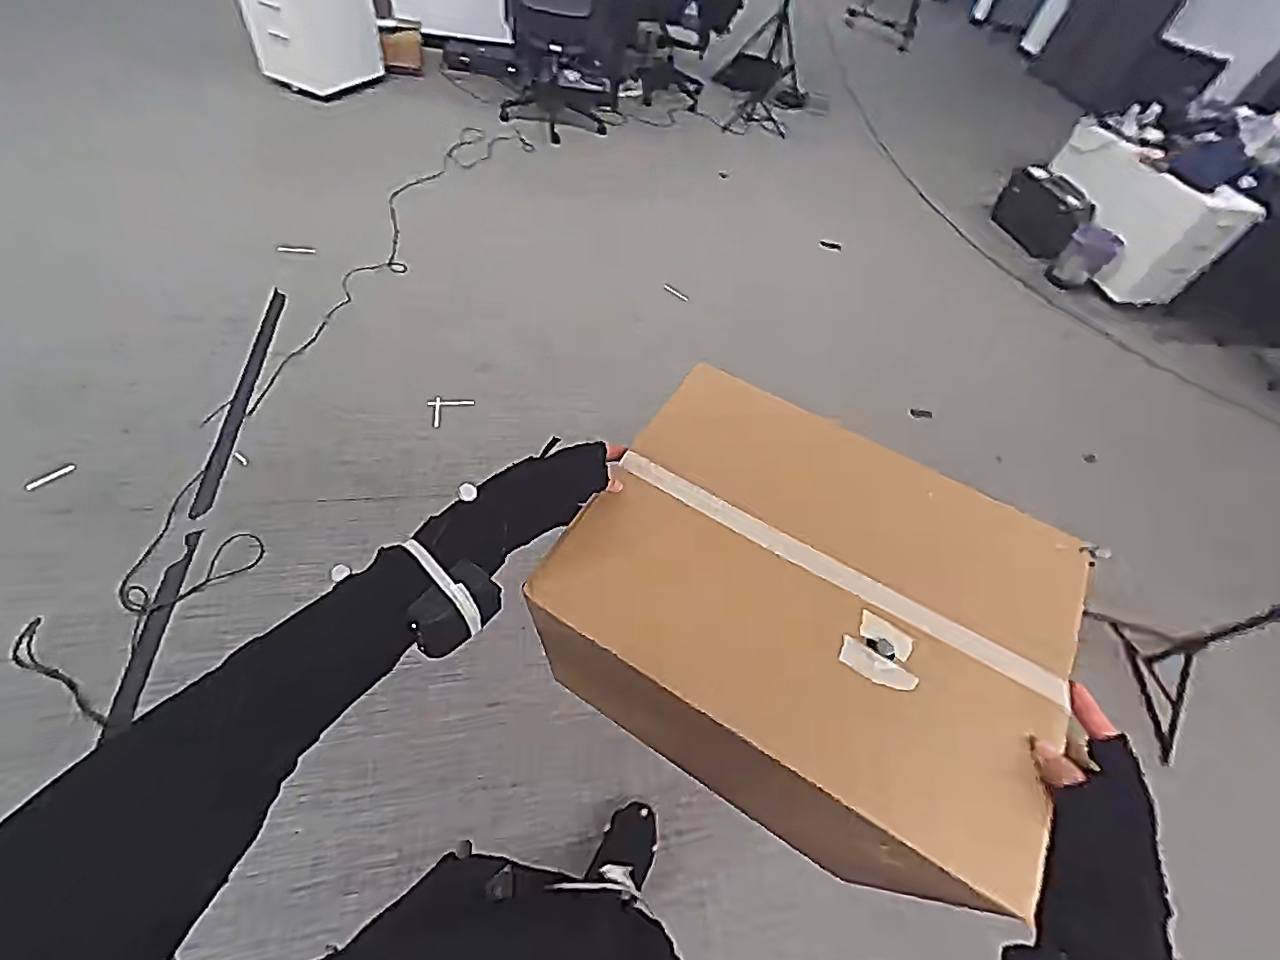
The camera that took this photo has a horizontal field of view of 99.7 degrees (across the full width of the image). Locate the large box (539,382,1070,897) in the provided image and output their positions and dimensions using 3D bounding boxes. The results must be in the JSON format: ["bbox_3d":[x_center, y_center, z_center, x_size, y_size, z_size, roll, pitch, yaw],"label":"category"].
[{"bbox_3d":[0.148,0.164,0.606,0.408,0.320,0.320,29,61,14],"label":"large box"}]
